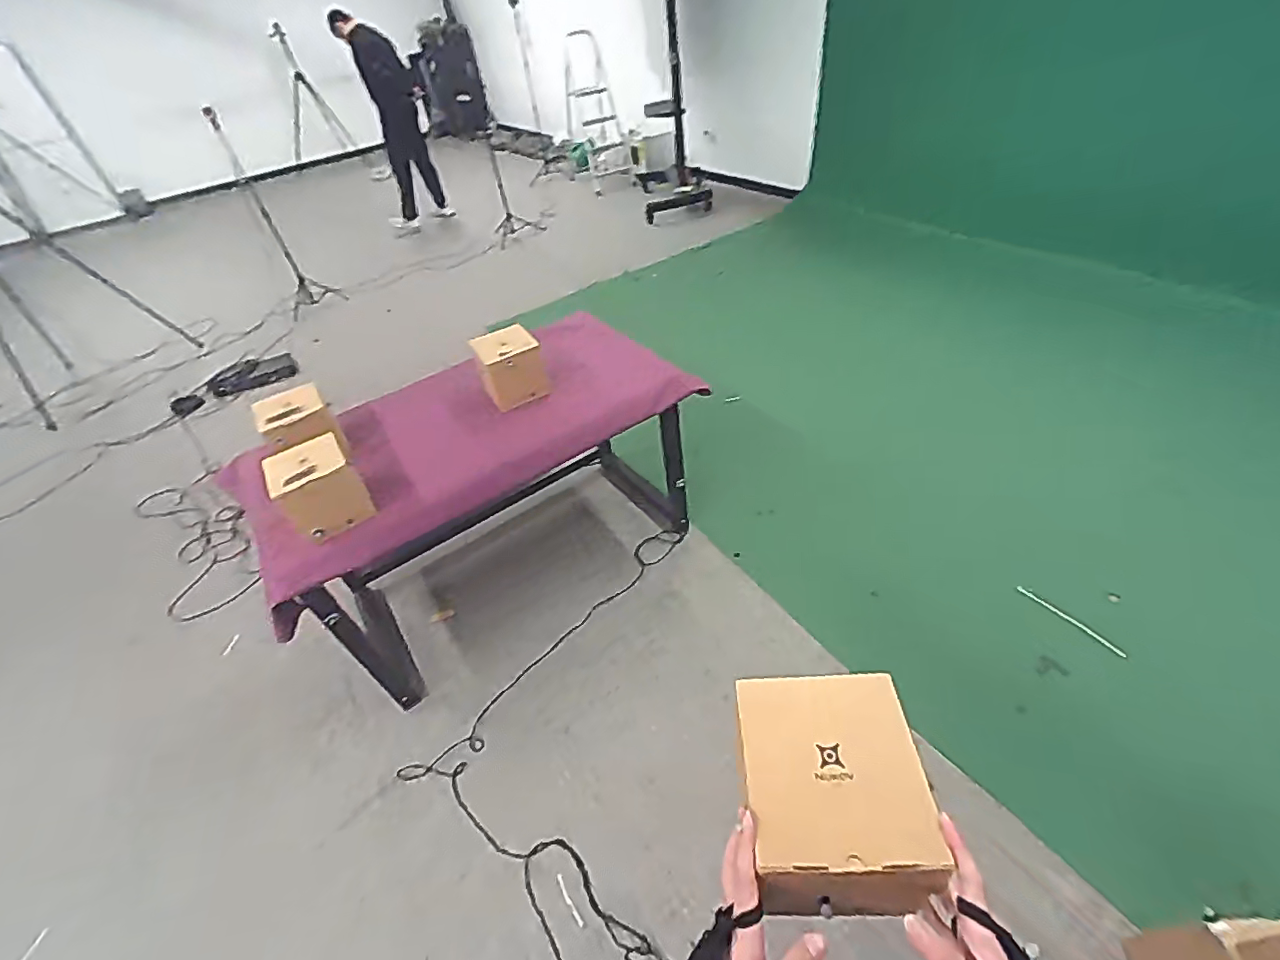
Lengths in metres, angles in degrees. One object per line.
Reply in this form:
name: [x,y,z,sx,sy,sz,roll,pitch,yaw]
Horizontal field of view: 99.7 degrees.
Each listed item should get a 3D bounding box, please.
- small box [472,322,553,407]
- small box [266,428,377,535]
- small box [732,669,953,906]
small box: [-0.384,-0.348,1.636,0.168,0.176,0.179,-26,45,-17]
small box: [-0.770,0.010,1.317,0.168,0.176,0.179,-29,46,-21]
small box: [0.190,0.324,0.572,0.168,0.176,0.179,-4,42,4]
